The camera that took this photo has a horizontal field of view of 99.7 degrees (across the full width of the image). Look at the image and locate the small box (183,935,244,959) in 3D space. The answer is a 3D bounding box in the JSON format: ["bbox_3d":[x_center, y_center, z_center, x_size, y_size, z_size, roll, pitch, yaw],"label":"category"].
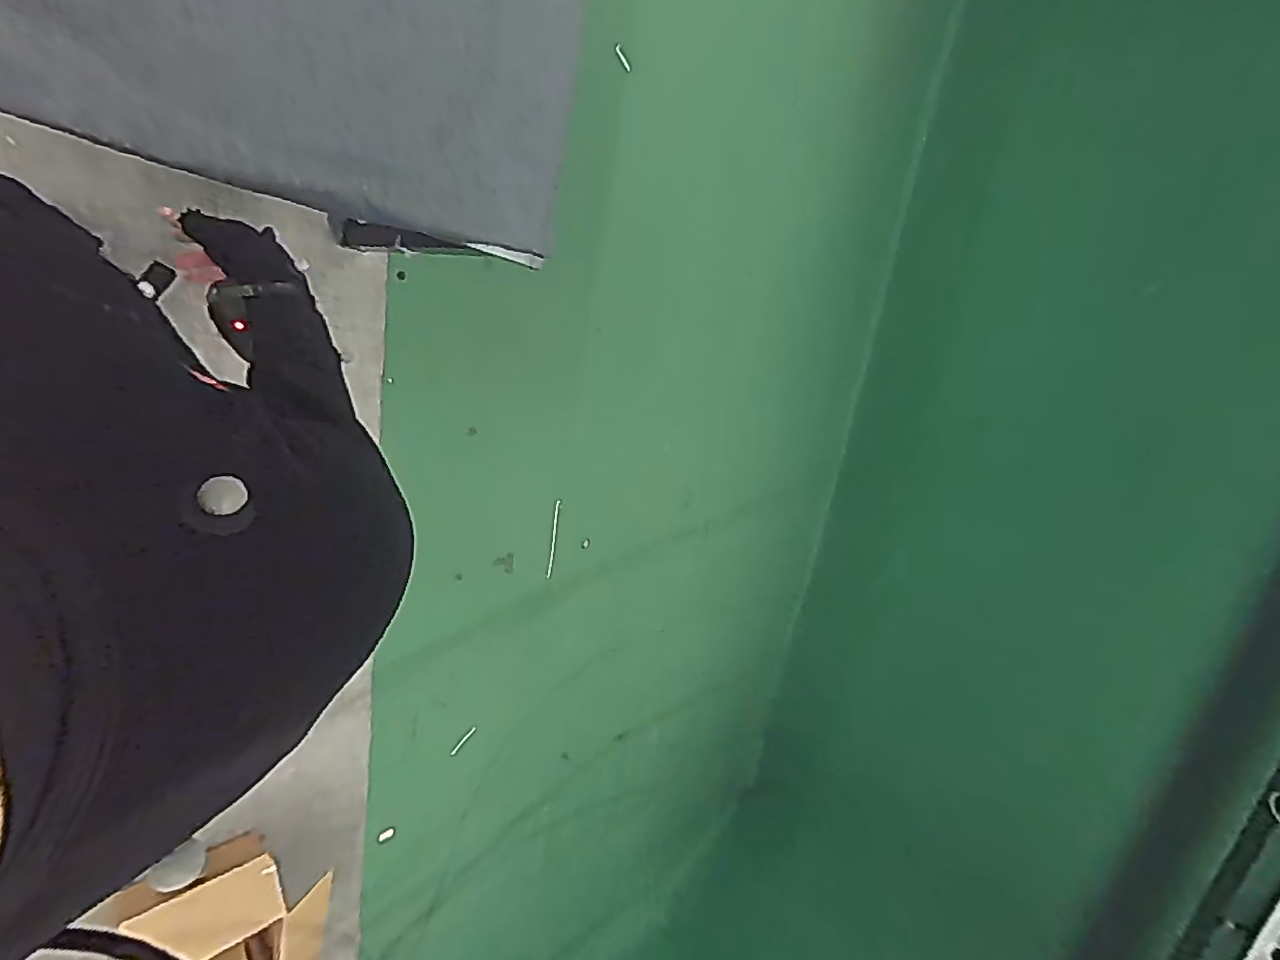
[{"bbox_3d":[-1.066,1.273,1.302,0.179,0.176,0.168,0,107,-48],"label":"small box"}]
